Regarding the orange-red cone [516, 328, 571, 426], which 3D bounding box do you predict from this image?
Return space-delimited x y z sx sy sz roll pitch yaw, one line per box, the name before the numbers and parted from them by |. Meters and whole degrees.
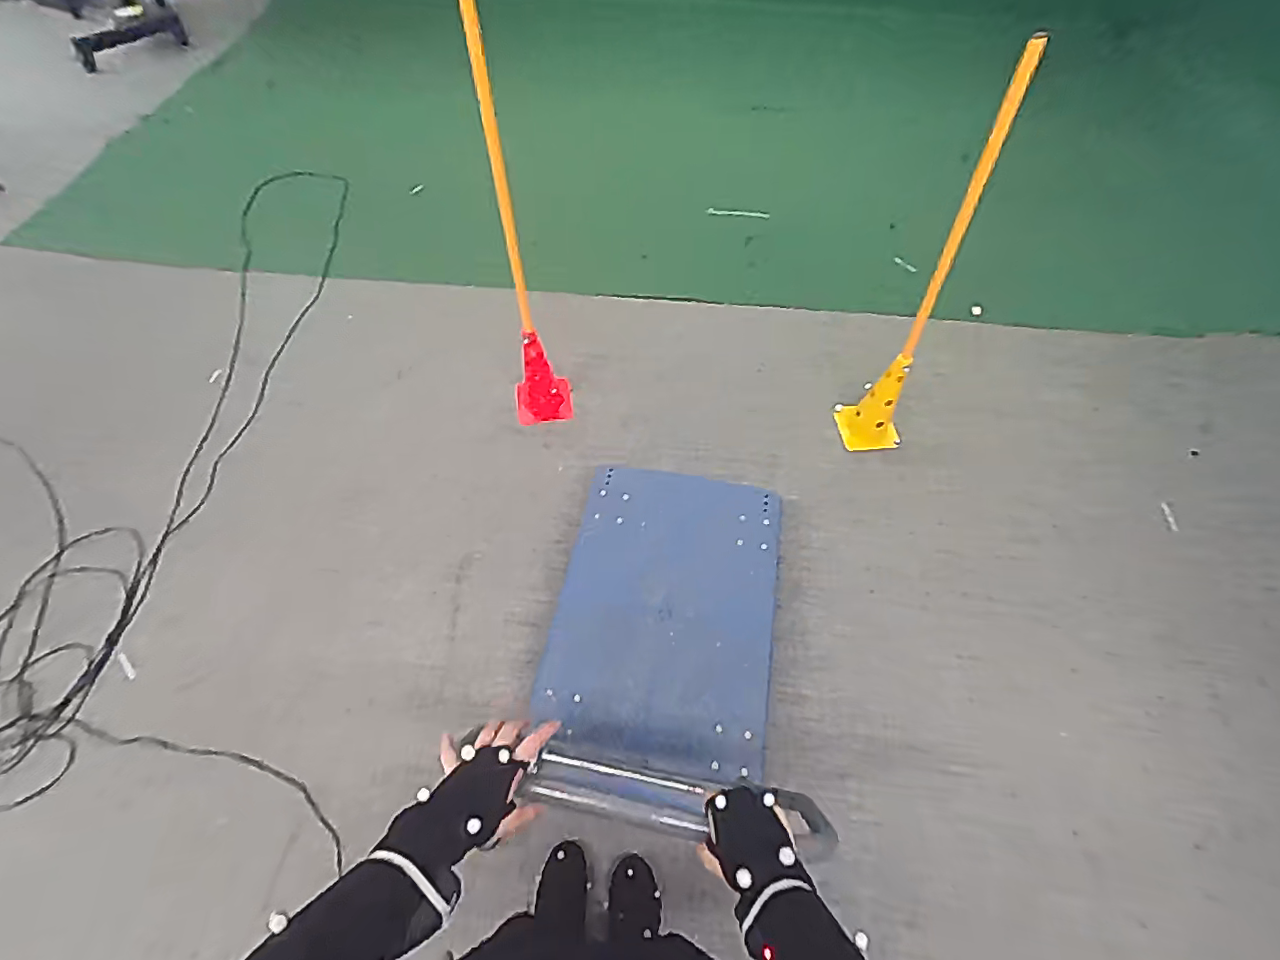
orange-red cone | -0.362 -0.377 1.870 0.199 0.360 0.198 -8 58 -4
